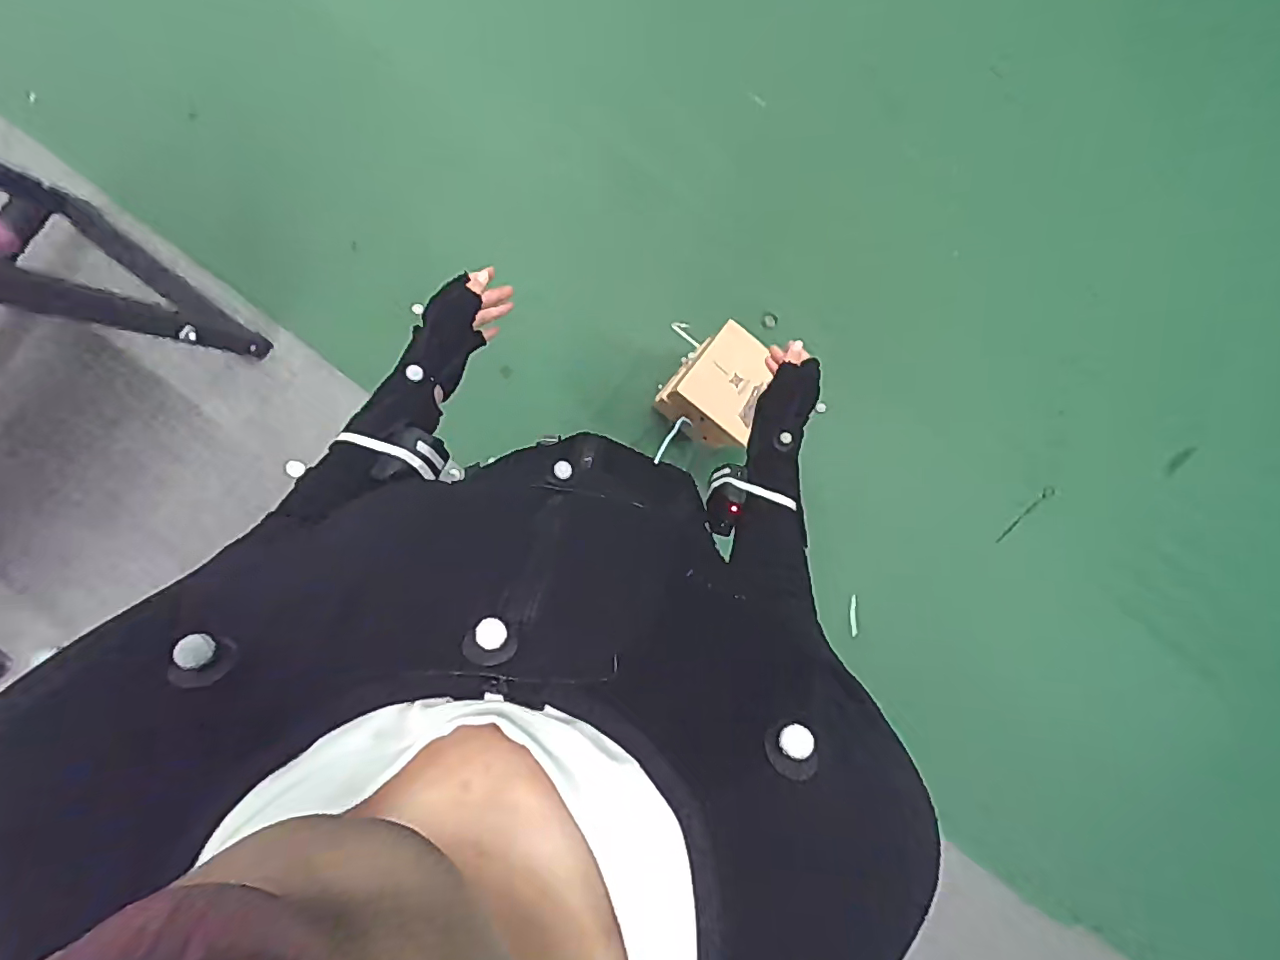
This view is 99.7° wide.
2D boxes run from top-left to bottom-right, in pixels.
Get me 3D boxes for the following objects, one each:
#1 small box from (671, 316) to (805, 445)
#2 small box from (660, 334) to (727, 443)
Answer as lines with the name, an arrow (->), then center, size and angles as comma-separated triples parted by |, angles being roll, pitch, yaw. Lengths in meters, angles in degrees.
small box -> 0.182, -0.187, 1.058 | 0.179, 0.176, 0.168 | 41, 90, -6
small box -> 0.162, -0.199, 1.224 | 0.179, 0.176, 0.168 | 40, 93, -6
